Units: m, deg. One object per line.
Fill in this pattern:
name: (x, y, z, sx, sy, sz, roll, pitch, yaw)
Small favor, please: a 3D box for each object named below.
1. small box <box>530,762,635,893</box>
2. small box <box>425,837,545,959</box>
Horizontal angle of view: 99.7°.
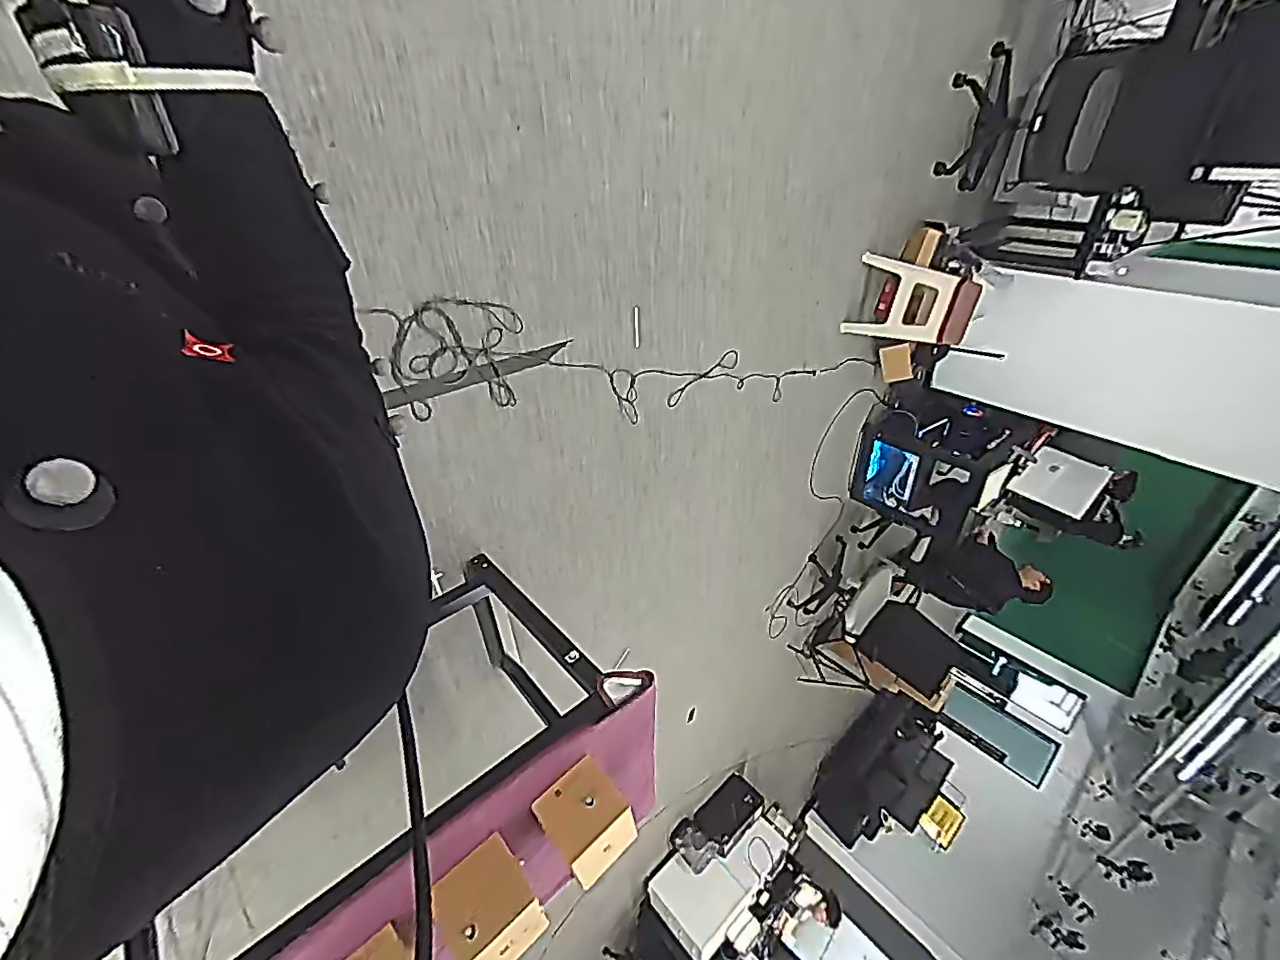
small box: (-0.135, 0.801, 1.265, 0.168, 0.176, 0.179, -33, 134, -28)
small box: (-0.326, 0.902, 1.125, 0.179, 0.176, 0.168, -30, 133, -31)
